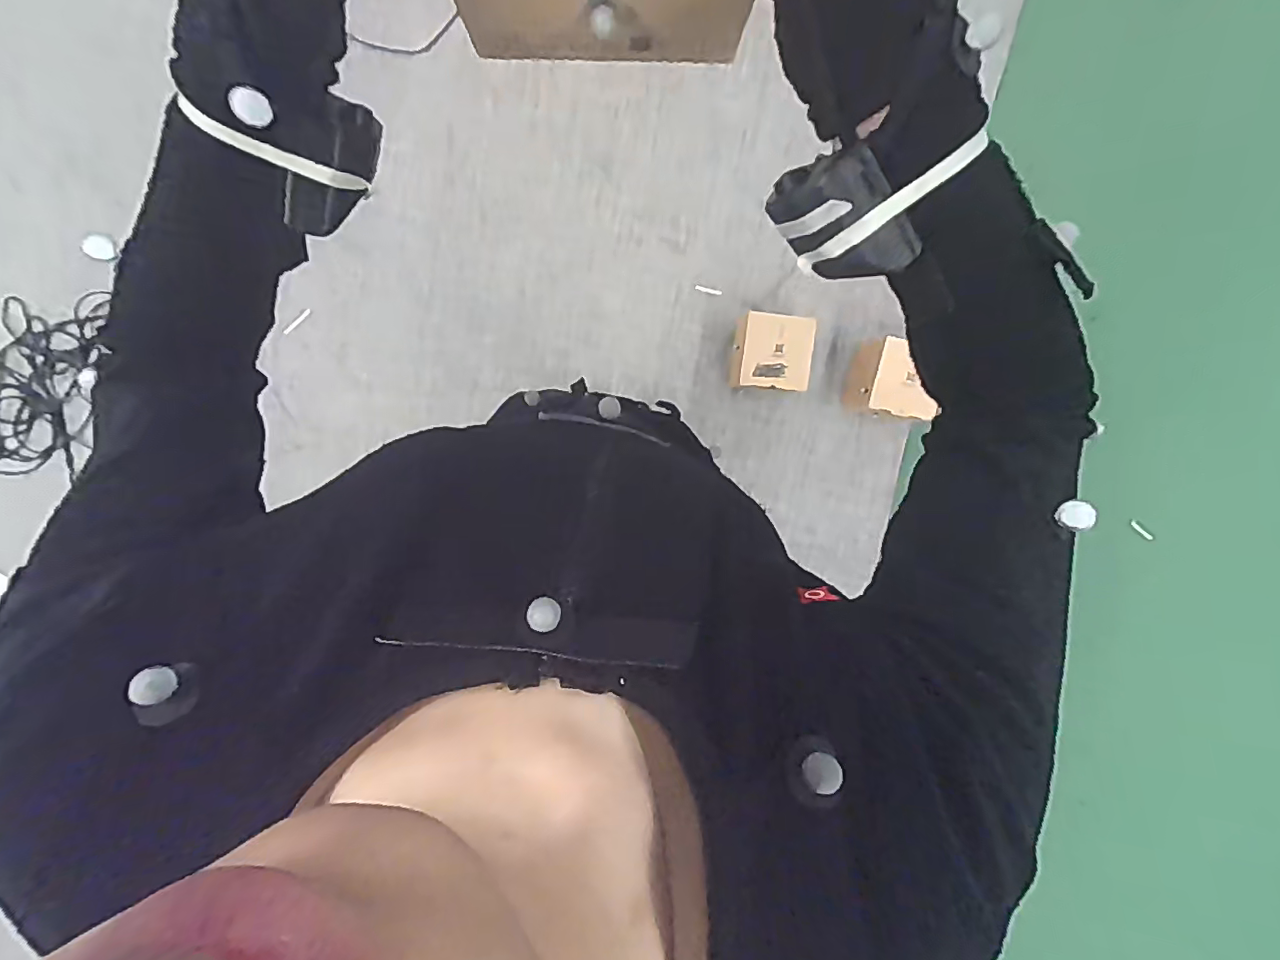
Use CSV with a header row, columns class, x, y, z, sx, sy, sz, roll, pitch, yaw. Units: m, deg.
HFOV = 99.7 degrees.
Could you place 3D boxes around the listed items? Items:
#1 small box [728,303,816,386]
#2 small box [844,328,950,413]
class,x,y,z,sx,sy,sz,roll,pitch,yaw
small box,0.323,-0.333,1.360,0.168,0.176,0.179,7,97,-2
small box,0.641,-0.272,1.372,0.168,0.176,0.179,12,98,-1
